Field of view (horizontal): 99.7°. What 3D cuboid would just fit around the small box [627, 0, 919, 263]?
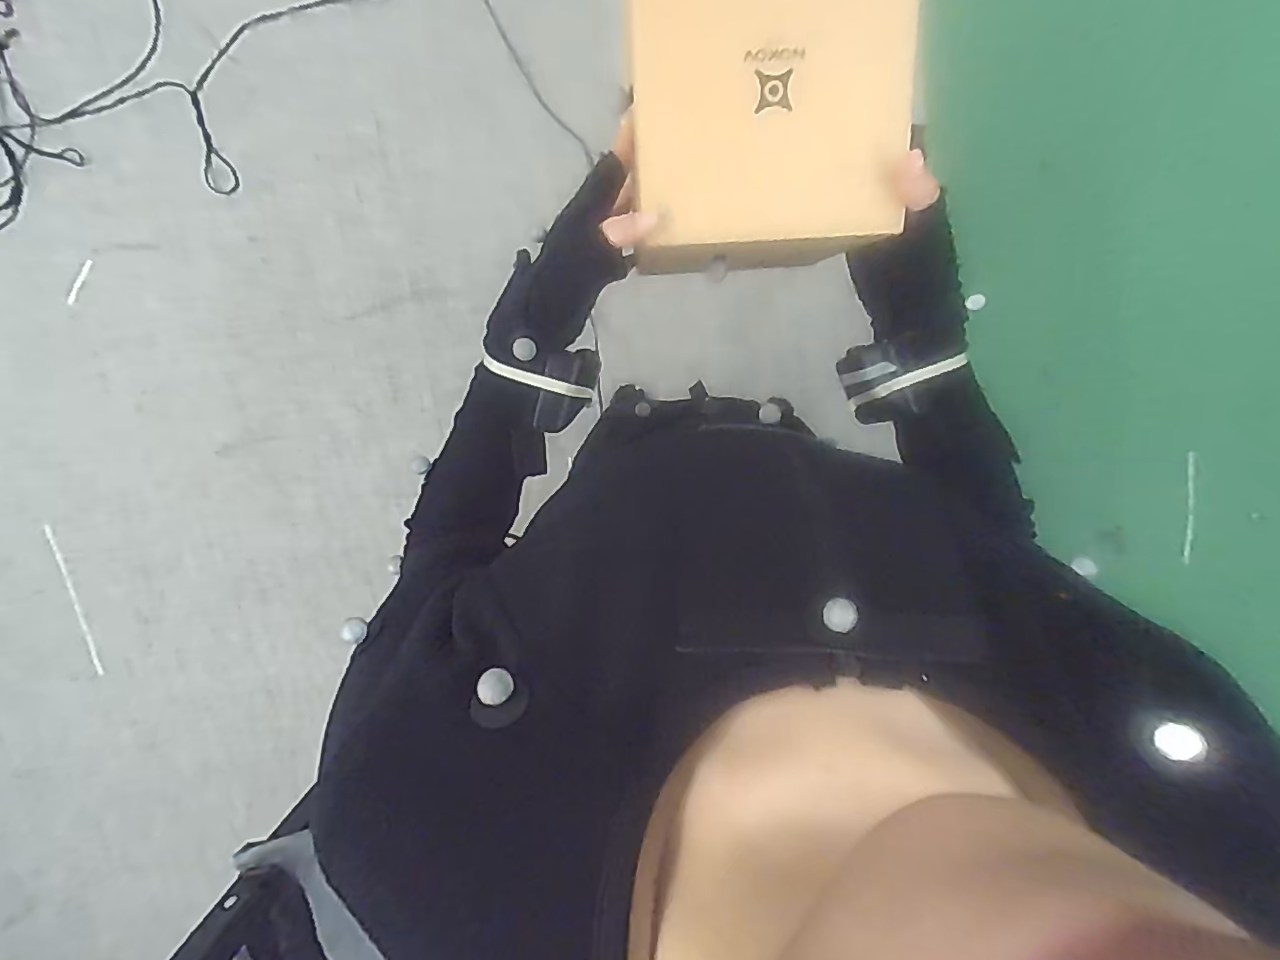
[{"bbox_3d":[0.077,-0.260,0.391,0.168,0.176,0.179,-3,103,0],"label":"small box"}]
